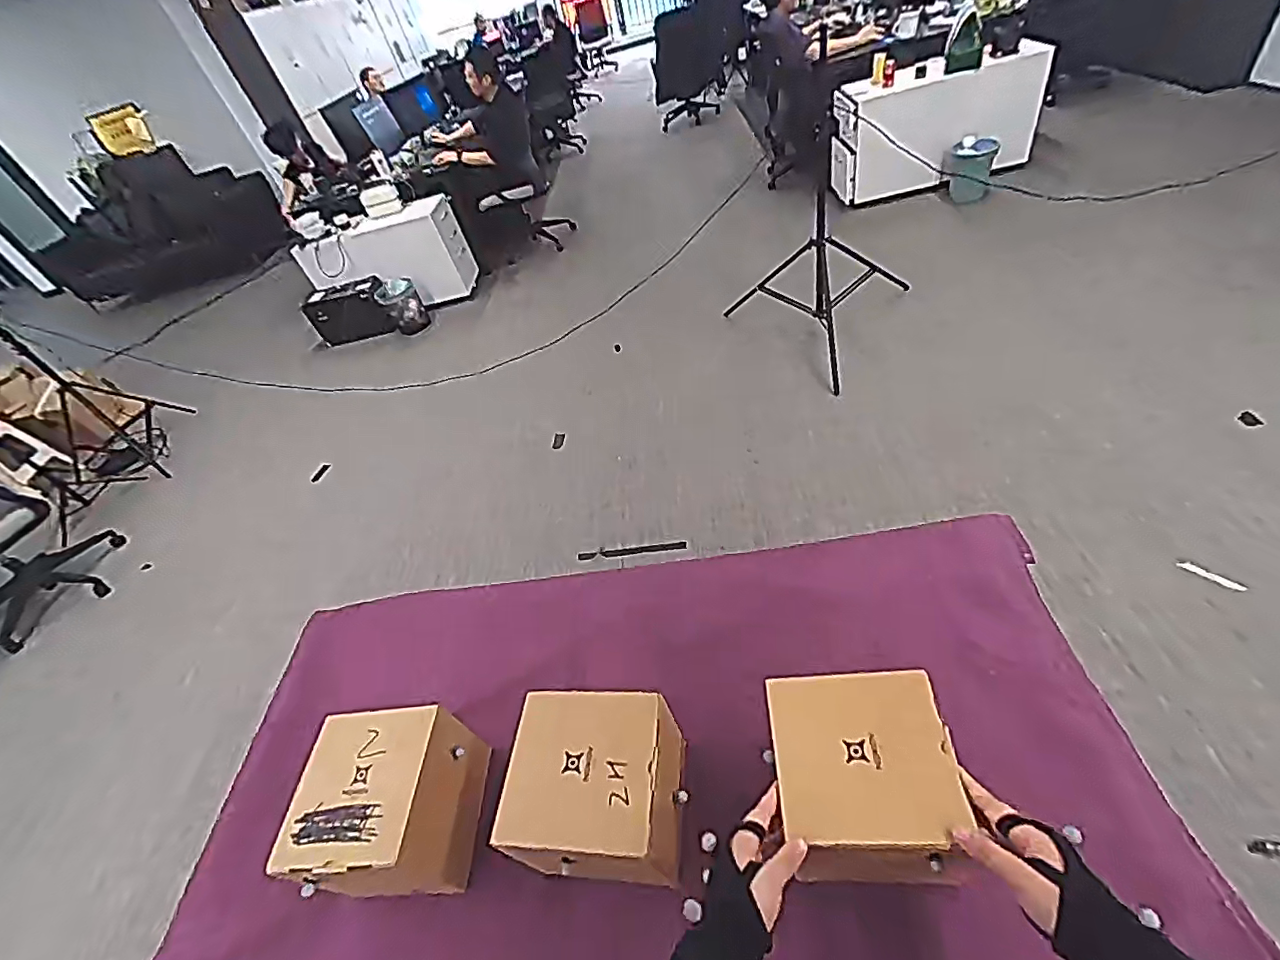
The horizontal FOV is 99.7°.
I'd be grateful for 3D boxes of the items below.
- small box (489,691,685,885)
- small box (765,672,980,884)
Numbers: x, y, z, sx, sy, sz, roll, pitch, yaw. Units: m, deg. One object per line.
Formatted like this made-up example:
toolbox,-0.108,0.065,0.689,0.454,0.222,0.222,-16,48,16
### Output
small box,-0.049,0.374,0.659,0.179,0.176,0.168,-4,45,14
small box,0.243,0.334,0.604,0.179,0.176,0.168,-7,43,11
